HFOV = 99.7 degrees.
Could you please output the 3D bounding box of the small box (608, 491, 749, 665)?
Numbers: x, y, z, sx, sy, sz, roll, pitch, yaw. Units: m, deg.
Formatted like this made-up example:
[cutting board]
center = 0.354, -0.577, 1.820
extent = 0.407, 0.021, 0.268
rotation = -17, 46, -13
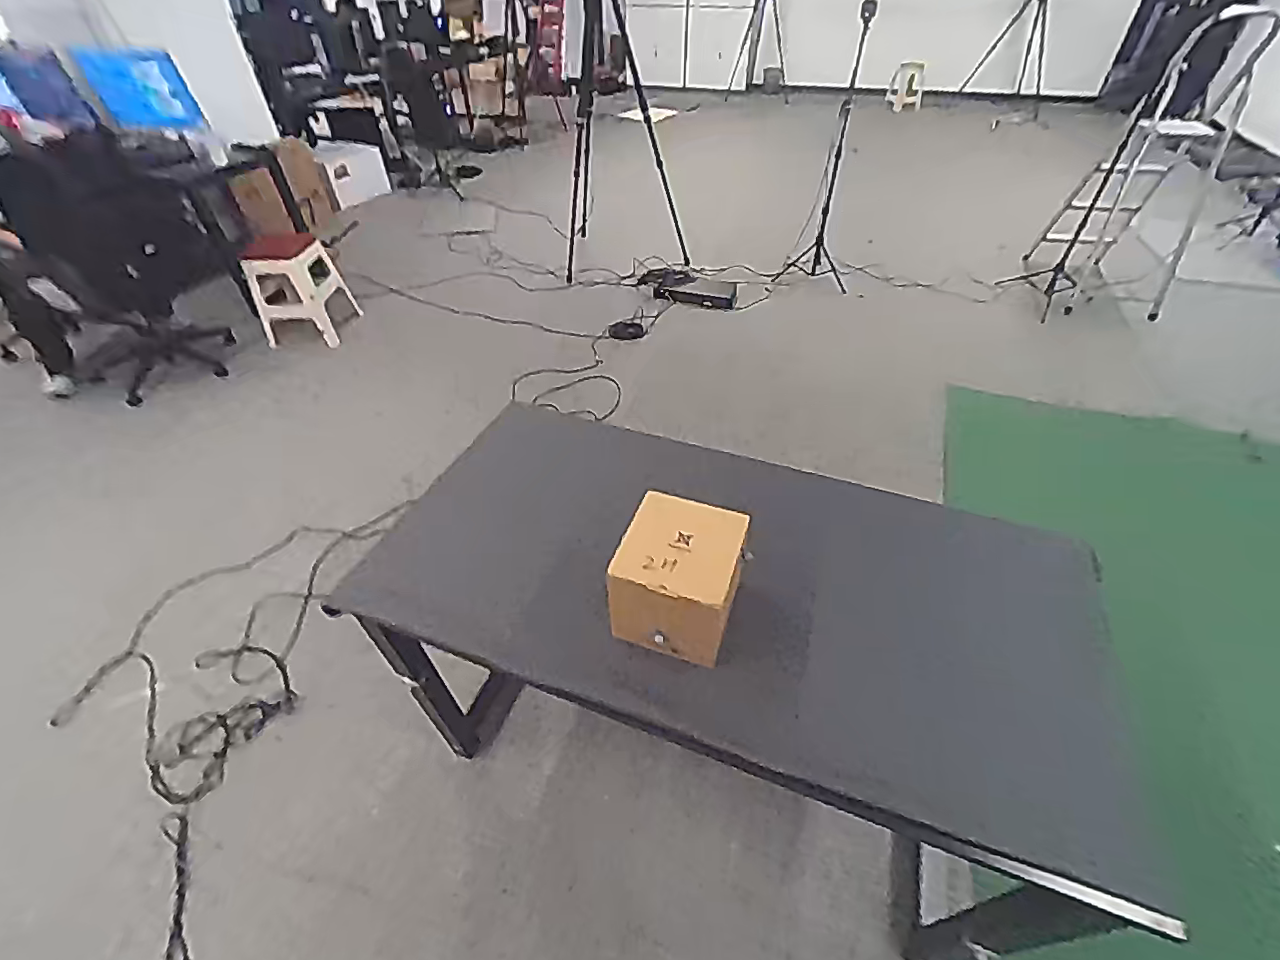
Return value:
[small box]
center = 0.061, 0.149, 0.830
extent = 0.168, 0.176, 0.179
rotation = 13, 45, 16
